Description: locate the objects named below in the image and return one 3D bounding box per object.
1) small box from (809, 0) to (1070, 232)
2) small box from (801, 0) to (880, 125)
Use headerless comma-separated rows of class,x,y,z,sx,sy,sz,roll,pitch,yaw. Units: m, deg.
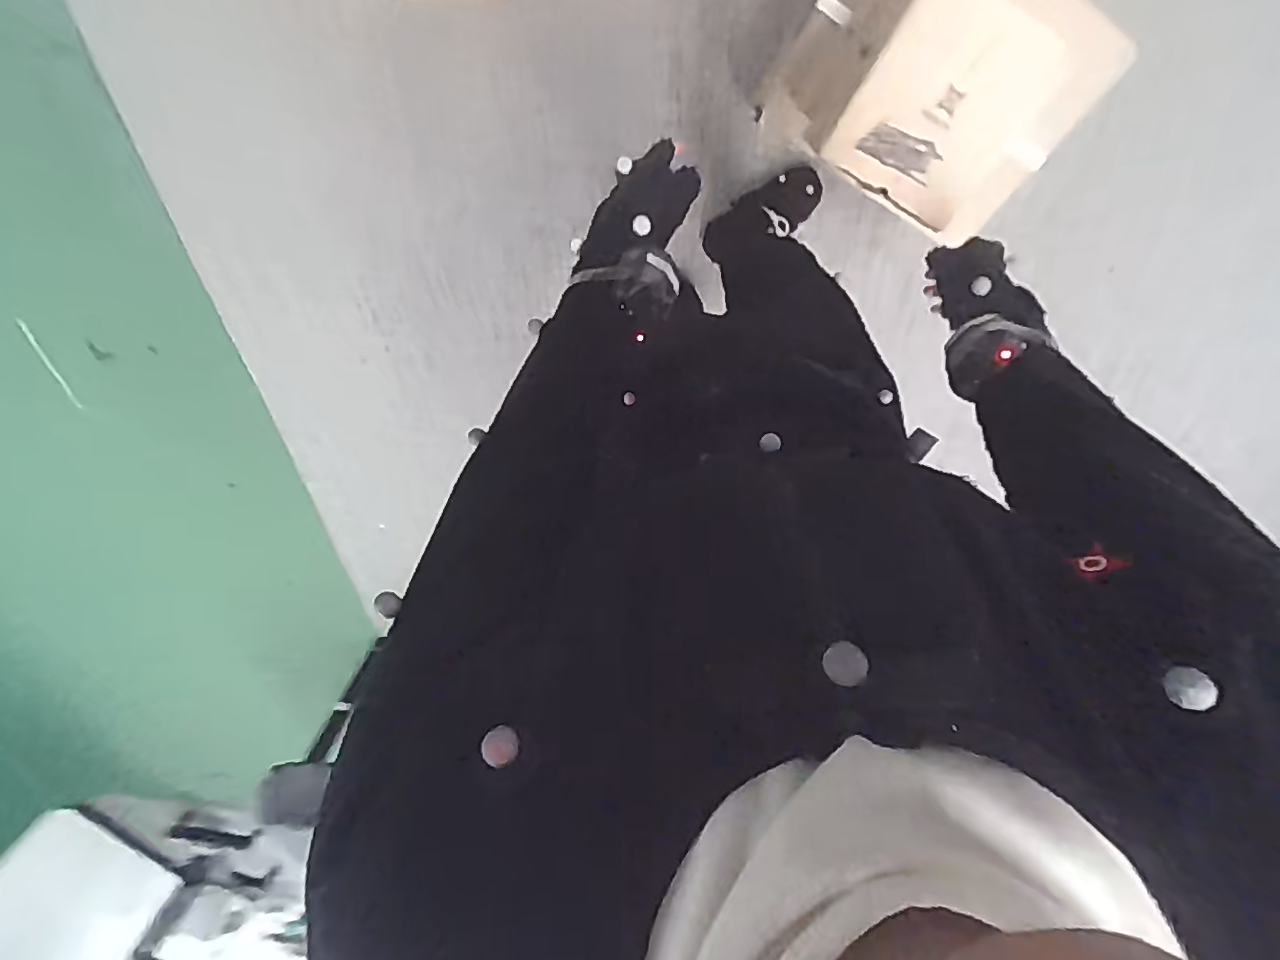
small box,0.304,-0.415,0.599,0.168,0.176,0.179,24,129,-8
small box,0.332,-0.526,0.718,0.168,0.176,0.179,30,128,-13
